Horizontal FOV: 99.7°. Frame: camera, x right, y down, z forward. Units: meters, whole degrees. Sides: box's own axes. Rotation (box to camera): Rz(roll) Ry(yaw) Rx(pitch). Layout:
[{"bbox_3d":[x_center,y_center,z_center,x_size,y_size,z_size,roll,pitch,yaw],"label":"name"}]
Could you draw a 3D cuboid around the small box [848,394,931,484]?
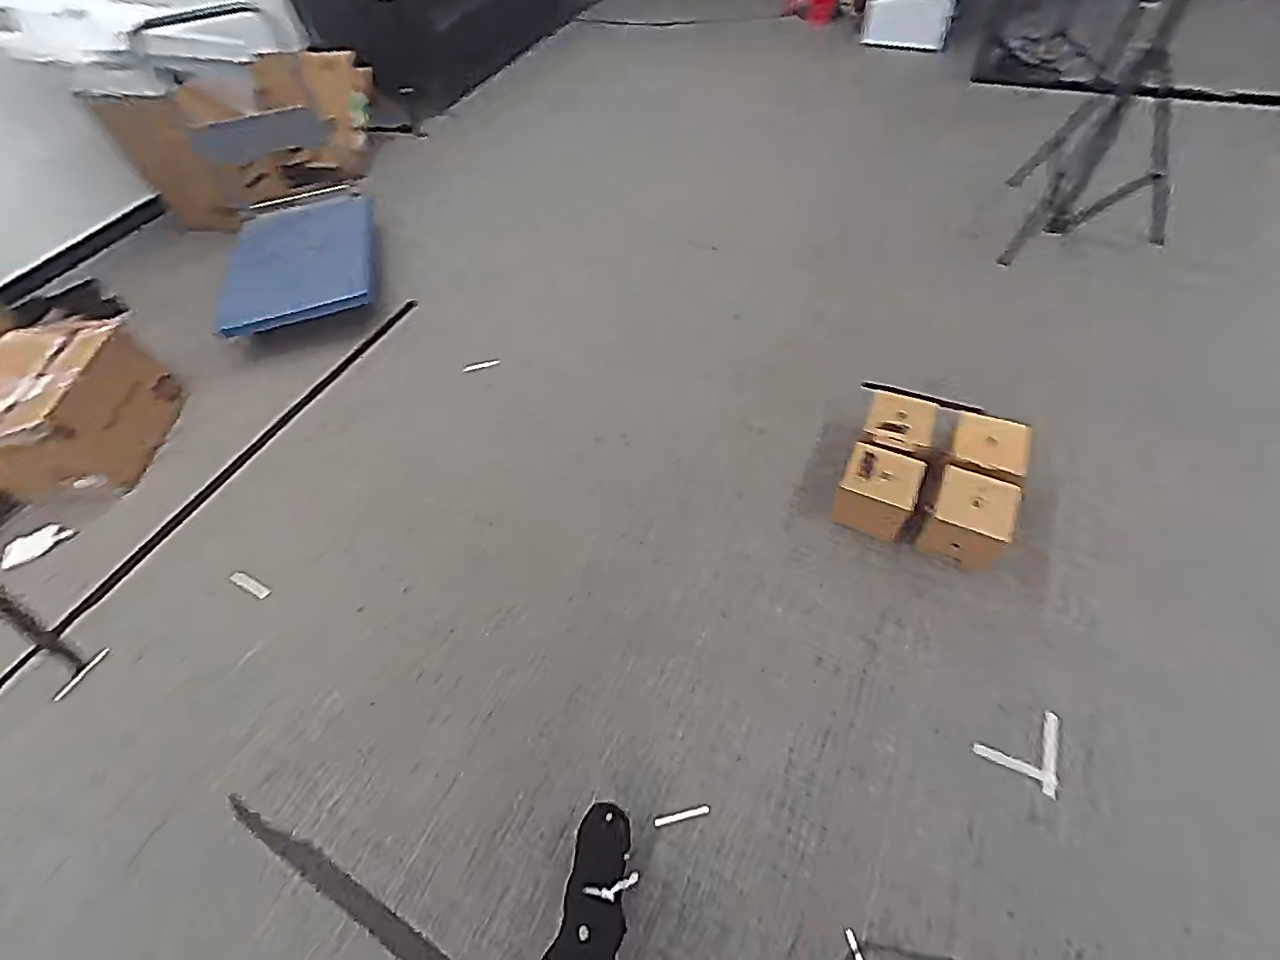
[{"bbox_3d":[0.715,-0.115,1.566,0.168,0.176,0.179,19,57,18],"label":"small box"}]
